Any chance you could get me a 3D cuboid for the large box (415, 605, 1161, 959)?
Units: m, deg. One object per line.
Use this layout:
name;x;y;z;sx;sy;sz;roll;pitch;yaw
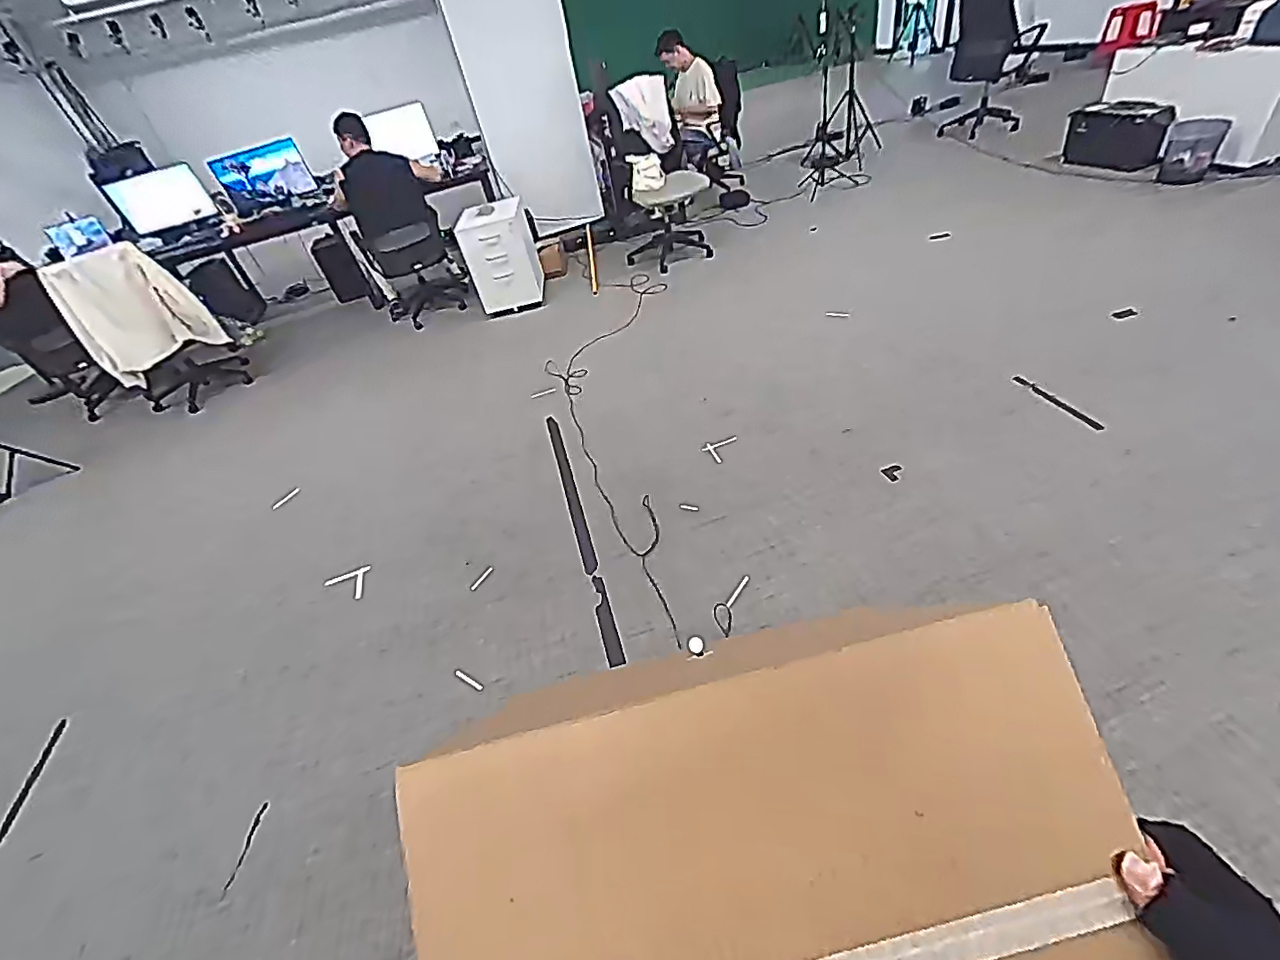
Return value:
large box;0.096;0.309;0.452;0.408;0.320;0.320;-15;76;-1
